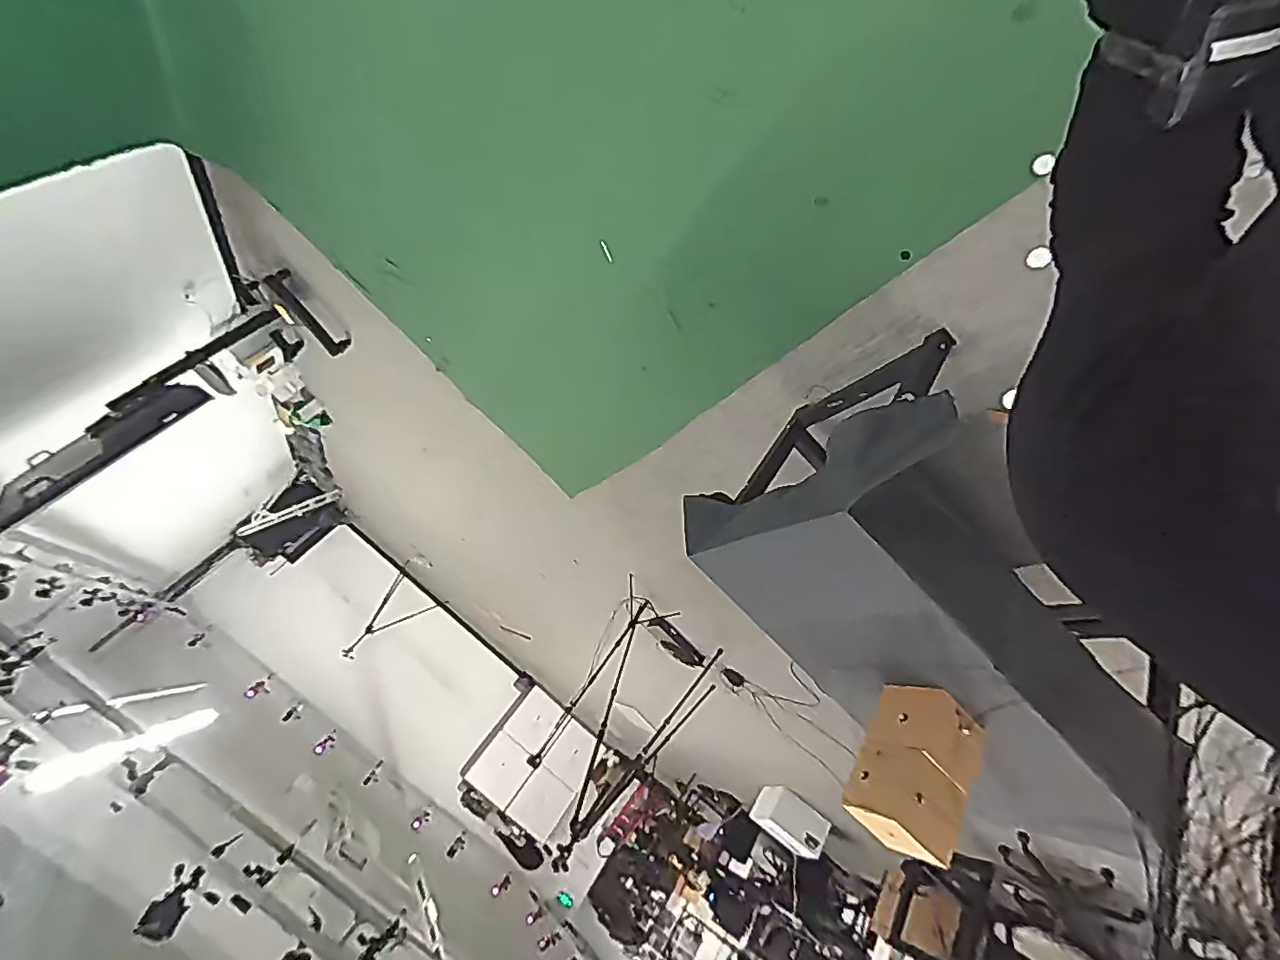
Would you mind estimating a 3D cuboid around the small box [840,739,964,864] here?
[{"bbox_3d":[0.607,0.731,1.253,0.179,0.176,0.168,44,151,-7],"label":"small box"}]

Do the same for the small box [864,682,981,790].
[{"bbox_3d":[0.697,0.619,1.332,0.168,0.176,0.179,45,149,-9],"label":"small box"}]
